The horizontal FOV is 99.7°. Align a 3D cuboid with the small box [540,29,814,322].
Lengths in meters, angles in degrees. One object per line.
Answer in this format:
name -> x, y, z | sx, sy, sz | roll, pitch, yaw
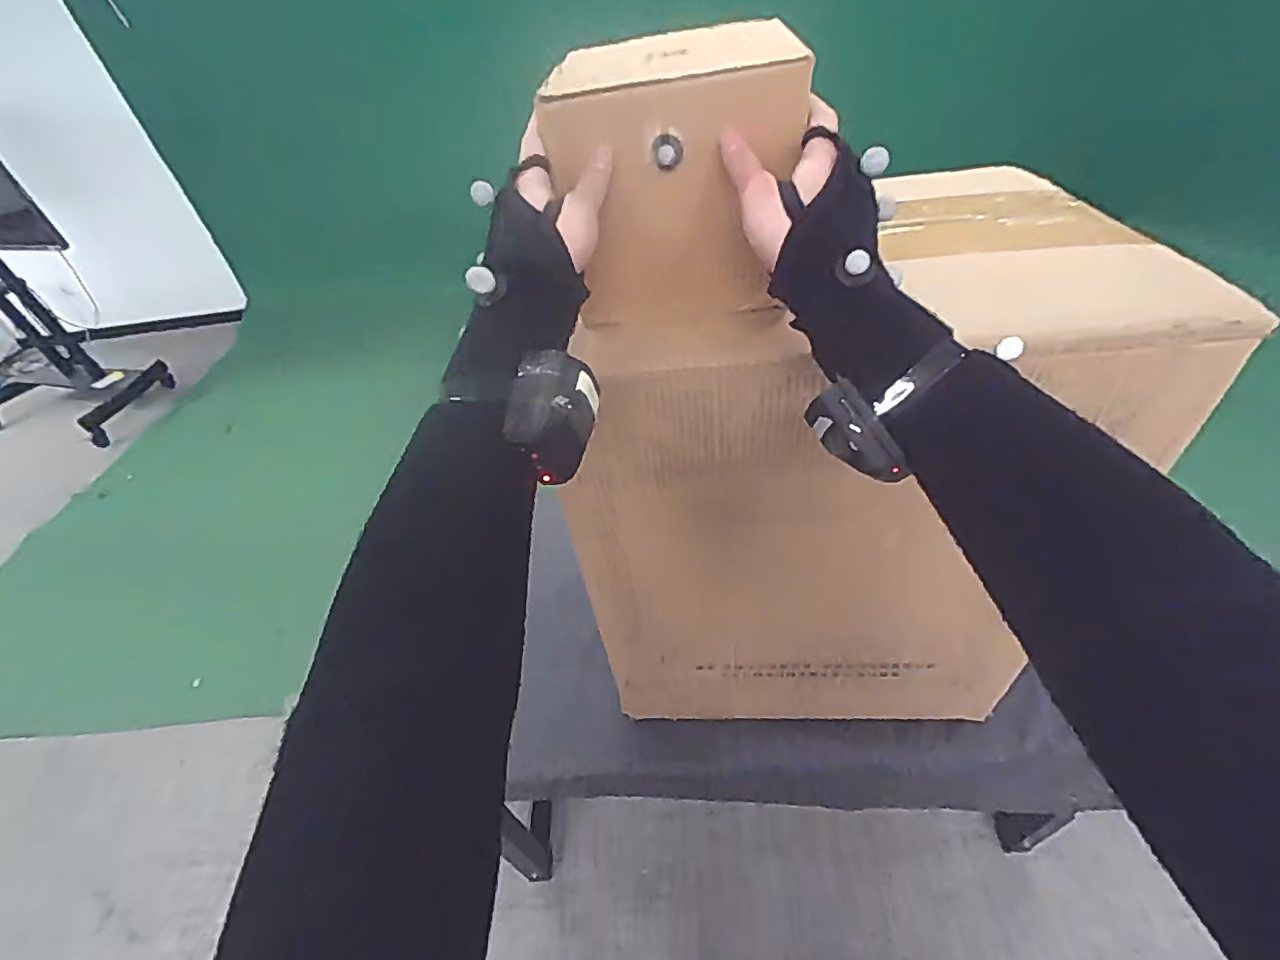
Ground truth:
small box -> 0.033, -0.245, 0.447 | 0.179, 0.176, 0.168 | -2, 47, 5
